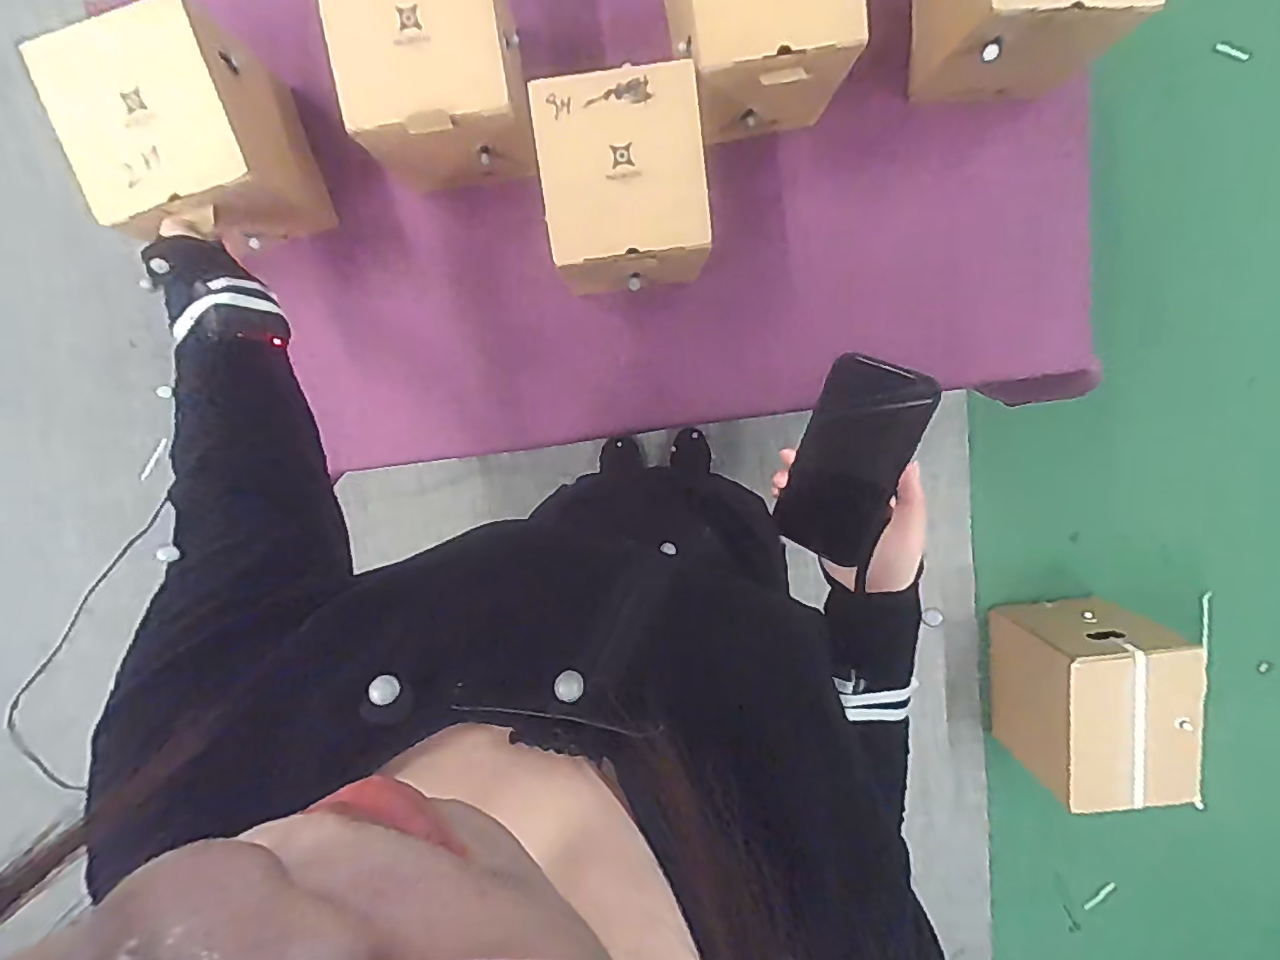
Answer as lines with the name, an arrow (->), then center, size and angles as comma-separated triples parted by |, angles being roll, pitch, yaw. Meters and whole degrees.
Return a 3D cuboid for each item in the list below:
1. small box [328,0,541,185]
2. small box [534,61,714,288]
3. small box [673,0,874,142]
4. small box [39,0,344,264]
small box -> -0.213, -0.449, 0.598 | 0.168, 0.176, 0.179 | -8, 99, 1
small box -> -0.012, -0.325, 0.616 | 0.168, 0.176, 0.179 | -7, 100, 1
small box -> 0.131, -0.507, 0.586 | 0.168, 0.176, 0.179 | -9, 101, 2
small box -> -0.479, -0.370, 0.611 | 0.168, 0.176, 0.179 | -17, 100, 3
